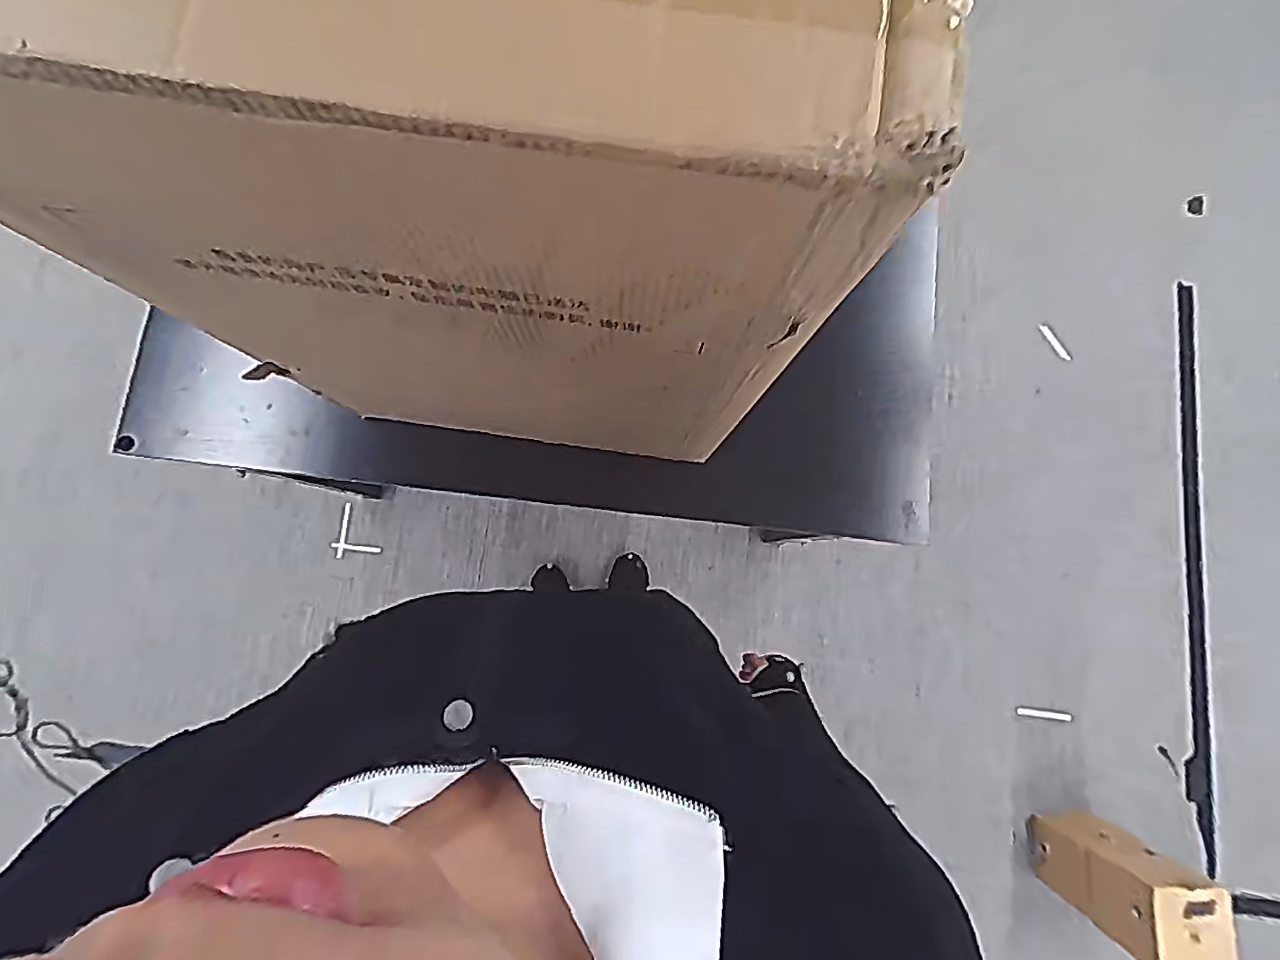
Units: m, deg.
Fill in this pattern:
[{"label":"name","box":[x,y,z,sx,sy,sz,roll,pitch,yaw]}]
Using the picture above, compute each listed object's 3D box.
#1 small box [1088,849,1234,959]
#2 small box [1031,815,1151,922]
[{"label":"small box","box":[1.144,0.953,1.201,0.168,0.176,0.179,2,82,-1]},{"label":"small box","box":[1.137,0.971,1.365,0.179,0.176,0.168,0,81,-1]}]
